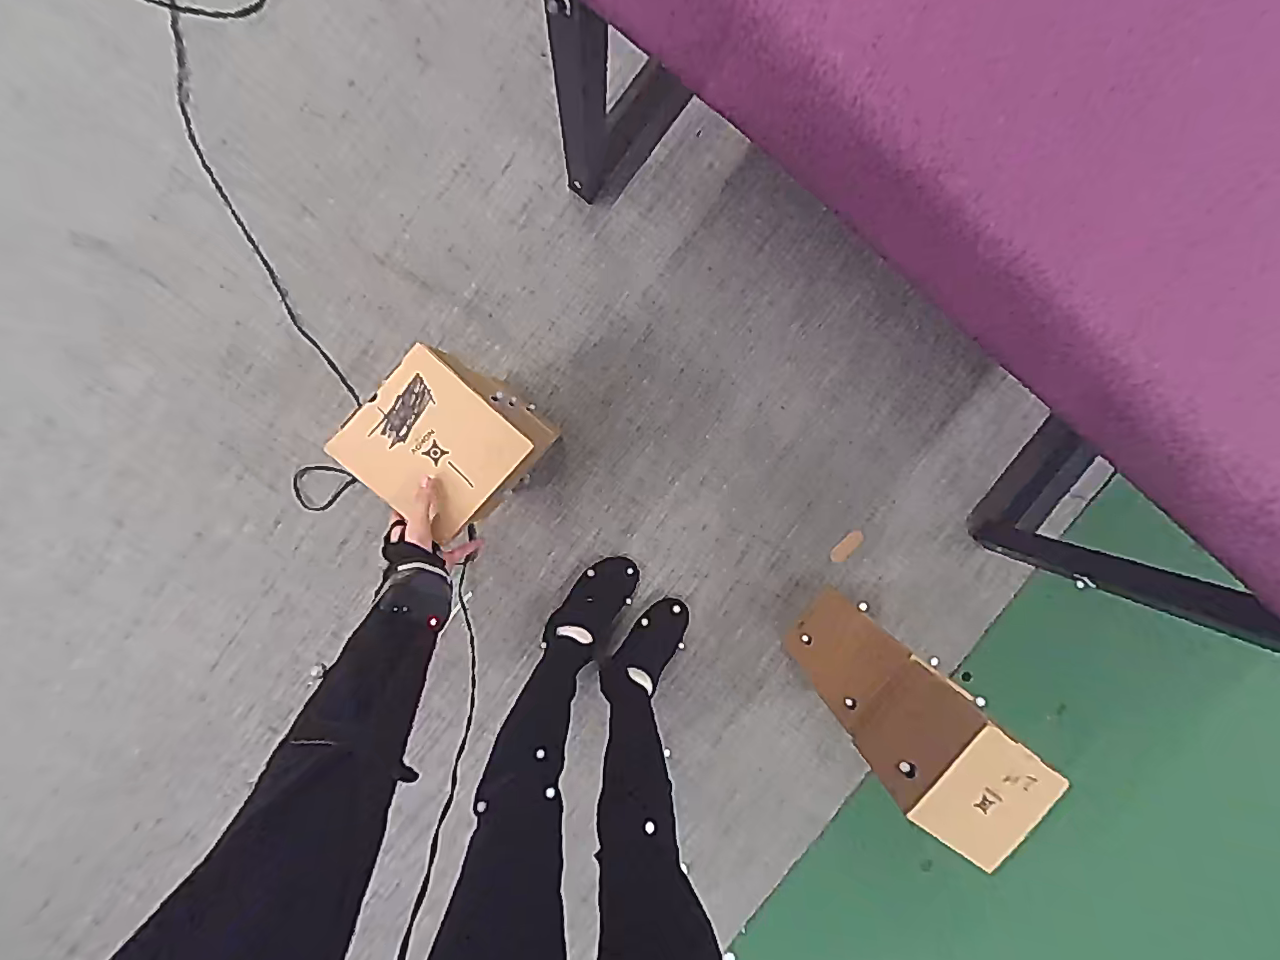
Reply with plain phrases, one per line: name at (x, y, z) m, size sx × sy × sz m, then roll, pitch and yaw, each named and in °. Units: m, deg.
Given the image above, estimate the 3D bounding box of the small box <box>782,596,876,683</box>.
small box at (0.431, 0.365, 1.137) m, size 0.179 × 0.176 × 0.168 m, roll 39°, pitch 93°, yaw -8°

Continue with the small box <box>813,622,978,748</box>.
small box at (0.447, 0.391, 0.978) m, size 0.168 × 0.176 × 0.179 m, roll 36°, pitch 94°, yaw -8°

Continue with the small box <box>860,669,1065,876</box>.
small box at (0.465, 0.428, 0.817) m, size 0.168 × 0.176 × 0.179 m, roll 37°, pitch 94°, yaw -9°

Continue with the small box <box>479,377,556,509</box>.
small box at (-0.274, -0.071, 1.024) m, size 0.168 × 0.176 × 0.179 m, roll 41°, pitch 92°, yaw -8°

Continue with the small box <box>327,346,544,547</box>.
small box at (-0.244, -0.043, 0.697) m, size 0.179 × 0.176 × 0.168 m, roll 43°, pitch 91°, yaw -9°
